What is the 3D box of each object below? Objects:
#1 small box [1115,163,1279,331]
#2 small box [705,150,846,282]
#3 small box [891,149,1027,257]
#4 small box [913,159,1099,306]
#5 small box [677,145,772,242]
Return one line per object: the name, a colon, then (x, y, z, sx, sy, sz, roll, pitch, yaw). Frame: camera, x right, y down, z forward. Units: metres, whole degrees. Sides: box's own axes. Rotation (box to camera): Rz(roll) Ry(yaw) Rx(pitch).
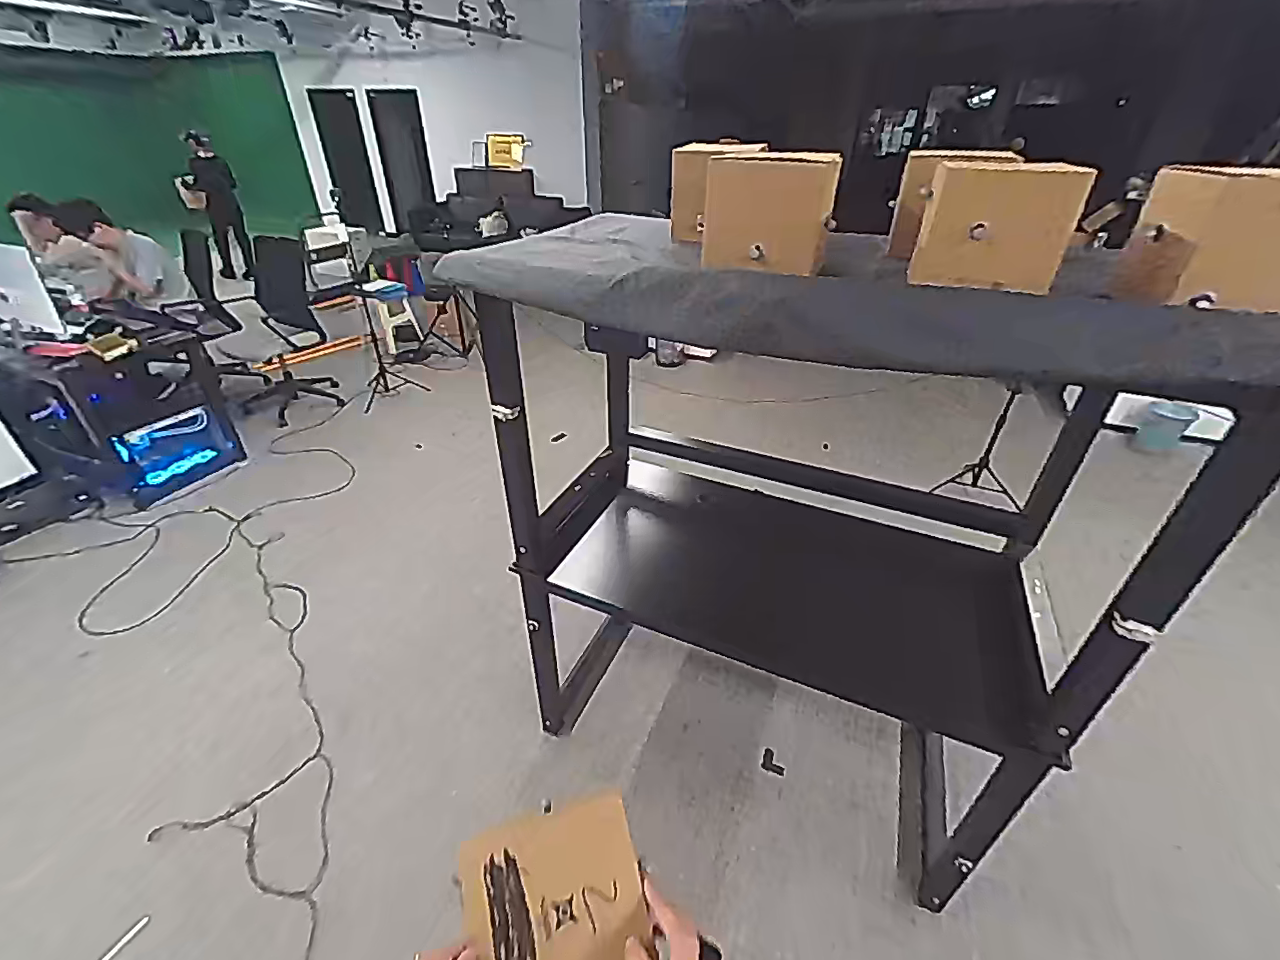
small box: (0.748, -0.292, 0.670, 0.168, 0.176, 0.179, 11, 34, 16)
small box: (0.215, -0.426, 0.871, 0.179, 0.176, 0.168, 14, 35, 18)
small box: (0.578, -0.511, 1.002, 0.179, 0.176, 0.168, 14, 37, 20)
small box: (0.500, -0.356, 0.771, 0.168, 0.176, 0.179, 13, 35, 18)
small box: (0.174, -0.600, 1.132, 0.168, 0.176, 0.179, 9, 35, 15)
